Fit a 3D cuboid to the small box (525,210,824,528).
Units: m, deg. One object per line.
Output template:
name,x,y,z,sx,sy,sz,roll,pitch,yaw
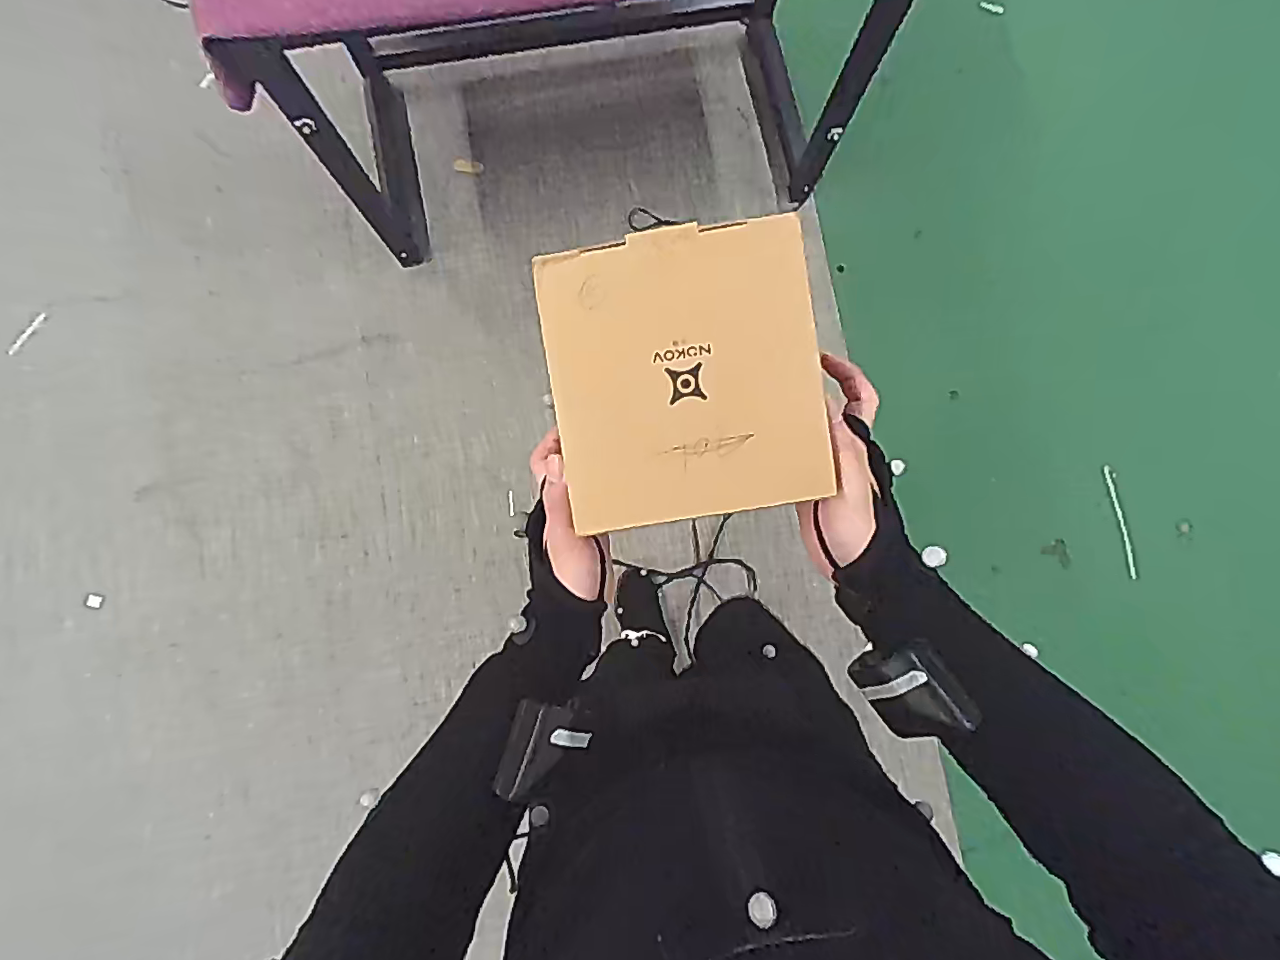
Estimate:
small box,0.023,-0.070,0.409,0.168,0.176,0.179,-9,94,3
